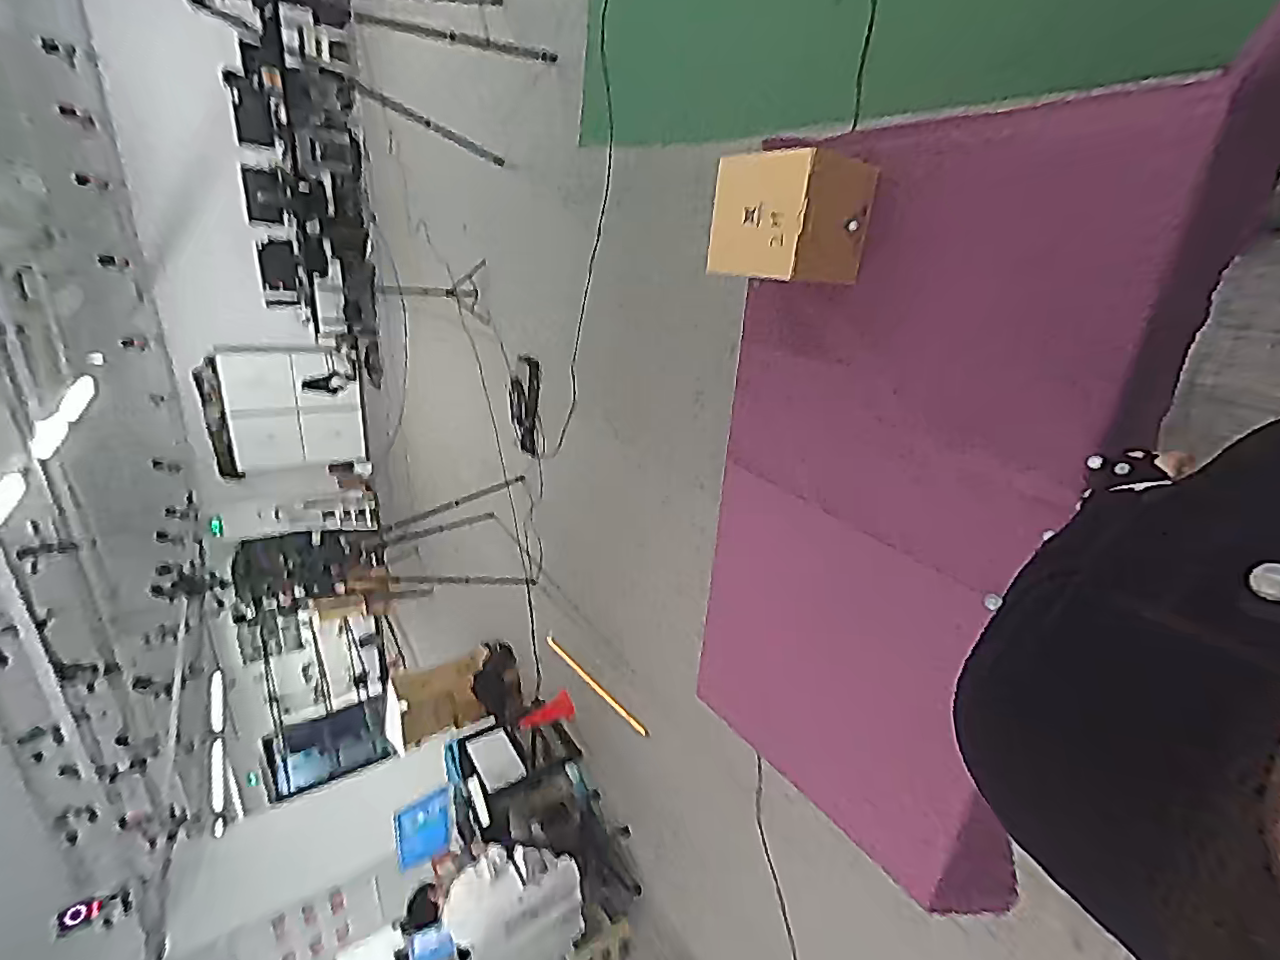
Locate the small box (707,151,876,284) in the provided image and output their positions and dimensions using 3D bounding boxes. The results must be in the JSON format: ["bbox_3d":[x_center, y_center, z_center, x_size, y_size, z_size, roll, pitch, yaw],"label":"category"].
[{"bbox_3d":[0.234,-0.406,0.852,0.179,0.176,0.168,30,123,44],"label":"small box"}]
